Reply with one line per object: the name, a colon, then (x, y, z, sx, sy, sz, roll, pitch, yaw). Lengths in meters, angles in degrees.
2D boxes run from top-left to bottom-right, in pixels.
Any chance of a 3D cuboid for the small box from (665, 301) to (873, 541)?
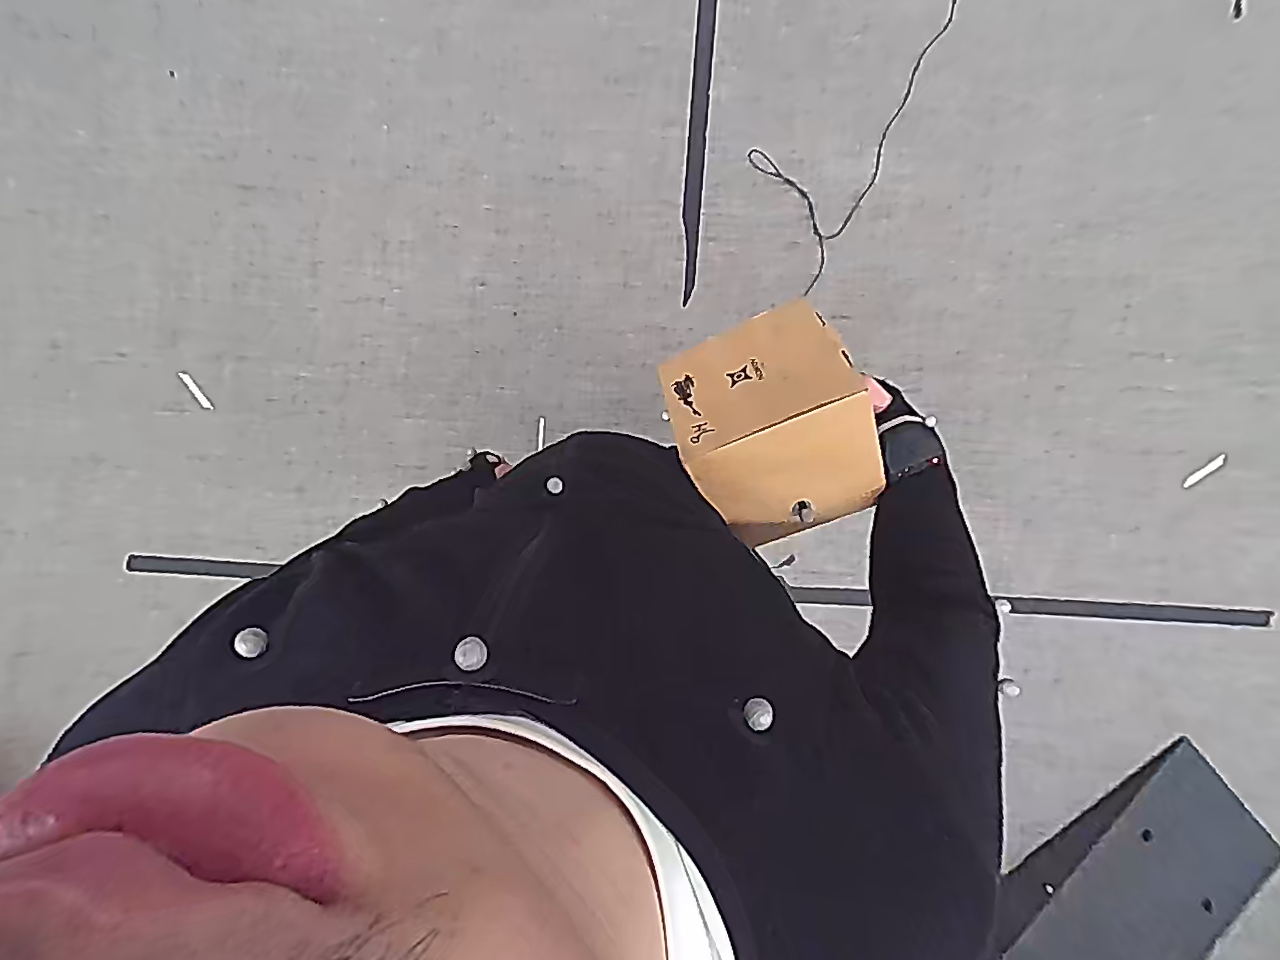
small box: (0.147, -0.060, 0.608, 0.179, 0.168, 0.176, -22, 134, 13)
